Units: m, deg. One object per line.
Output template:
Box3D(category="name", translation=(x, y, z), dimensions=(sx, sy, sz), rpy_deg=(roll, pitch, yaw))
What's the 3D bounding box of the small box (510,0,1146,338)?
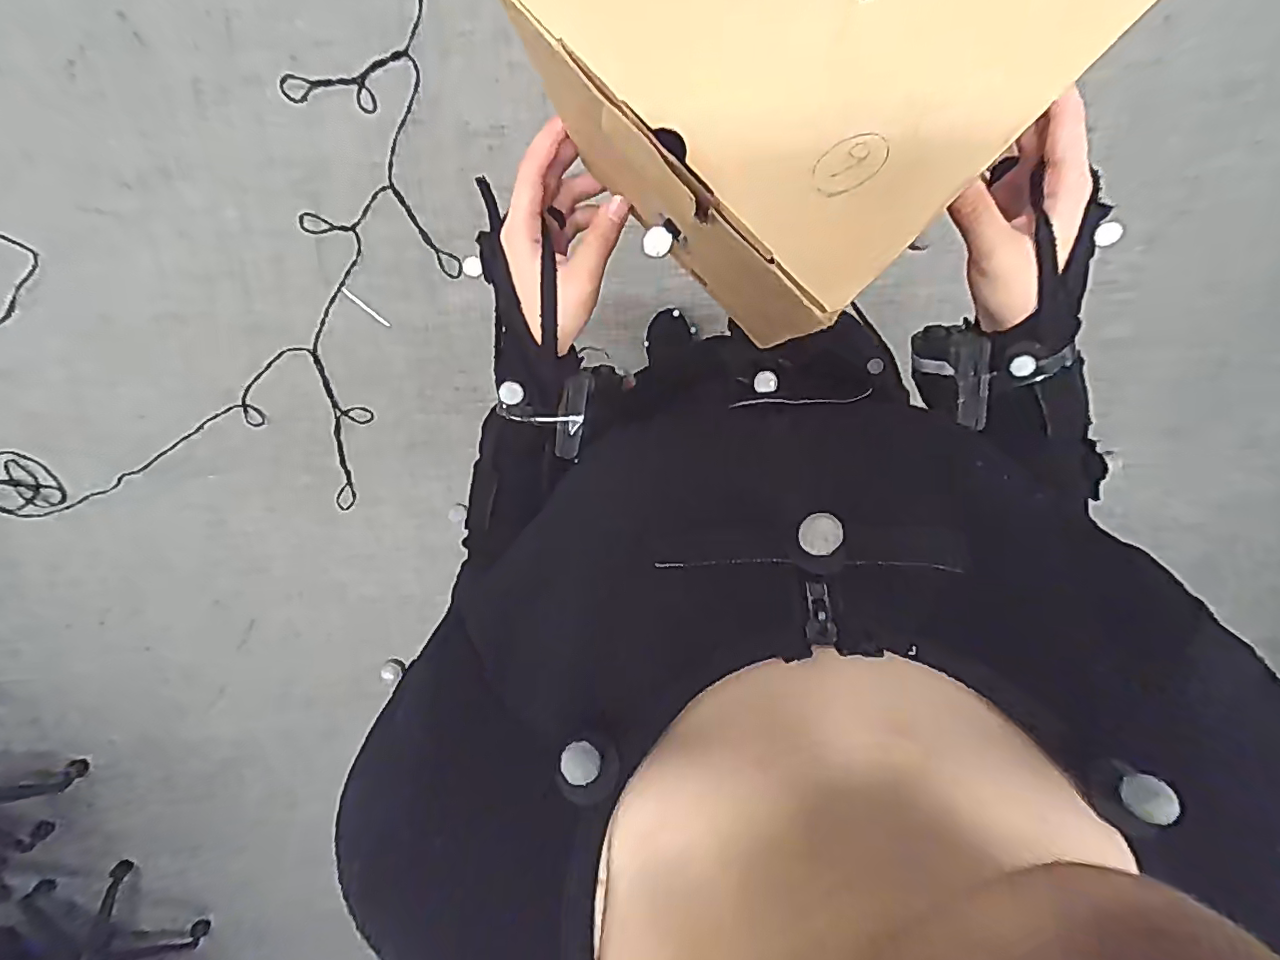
Box3D(category="small box", translation=(0.075, -0.187, 0.264), dimensions=(0.168, 0.176, 0.179), rpy_deg=(43, 102, -4))
